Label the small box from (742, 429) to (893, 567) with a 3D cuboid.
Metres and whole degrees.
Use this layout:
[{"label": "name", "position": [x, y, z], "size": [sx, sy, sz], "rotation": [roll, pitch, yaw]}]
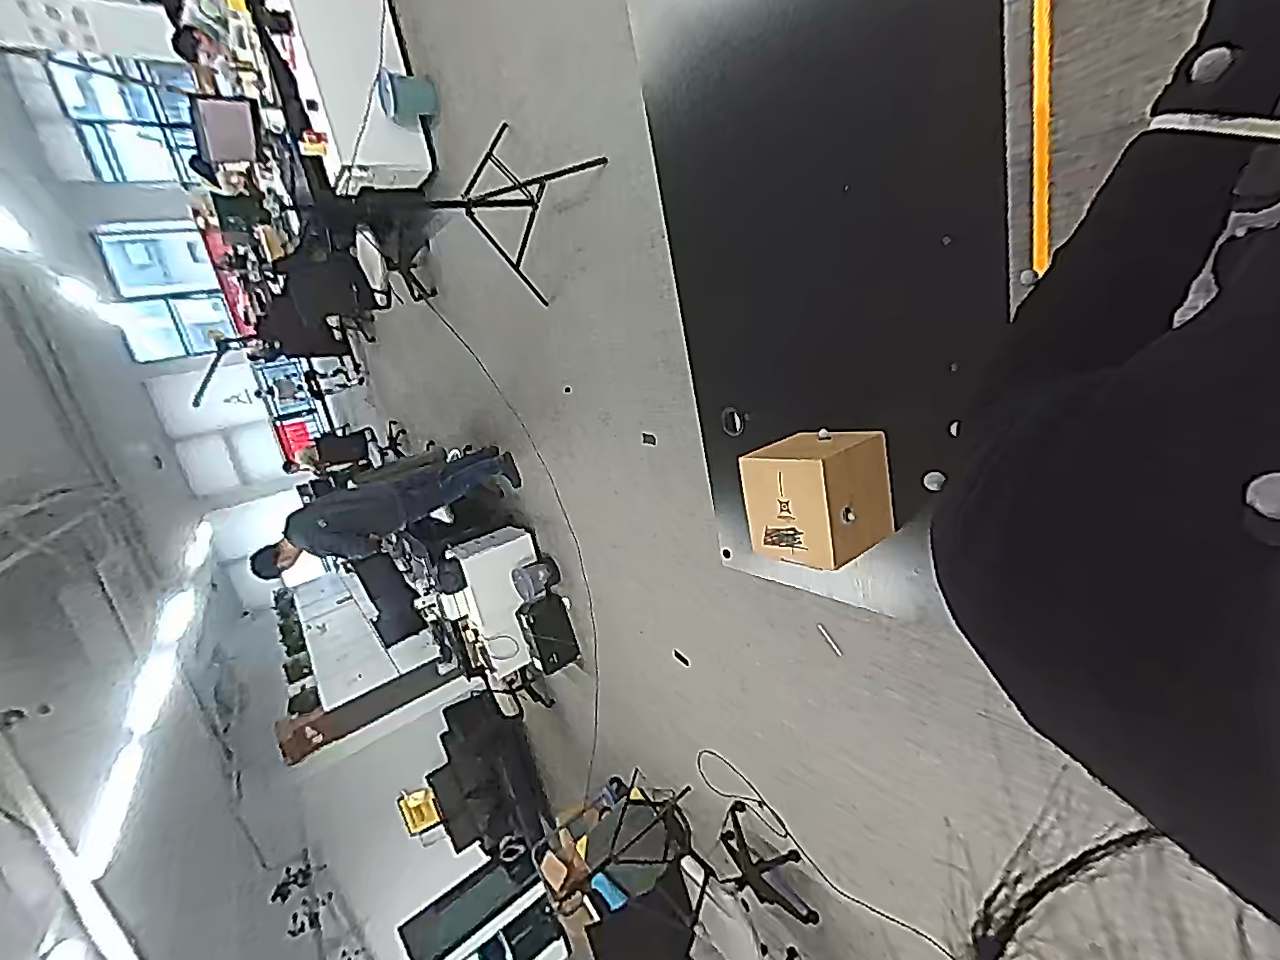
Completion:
[{"label": "small box", "position": [0.299, 0.020, 0.901], "size": [0.168, 0.176, 0.179], "rotation": [6, 112, 54]}]
